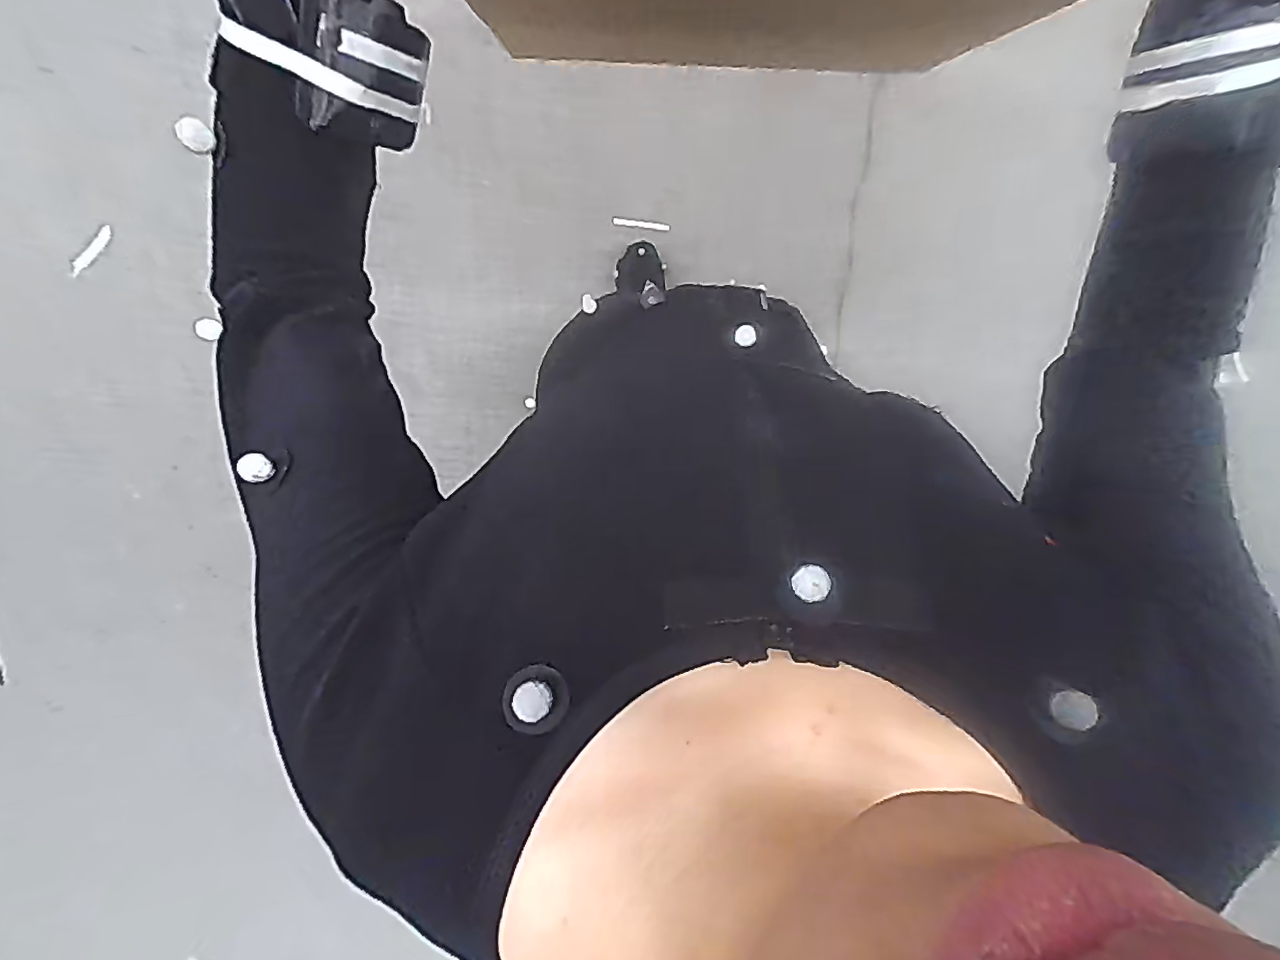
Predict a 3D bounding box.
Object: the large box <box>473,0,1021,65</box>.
[{"bbox_3d":[0.075,-0.478,0.325,0.408,0.320,0.320,0,117,-1],"label":"large box"}]
